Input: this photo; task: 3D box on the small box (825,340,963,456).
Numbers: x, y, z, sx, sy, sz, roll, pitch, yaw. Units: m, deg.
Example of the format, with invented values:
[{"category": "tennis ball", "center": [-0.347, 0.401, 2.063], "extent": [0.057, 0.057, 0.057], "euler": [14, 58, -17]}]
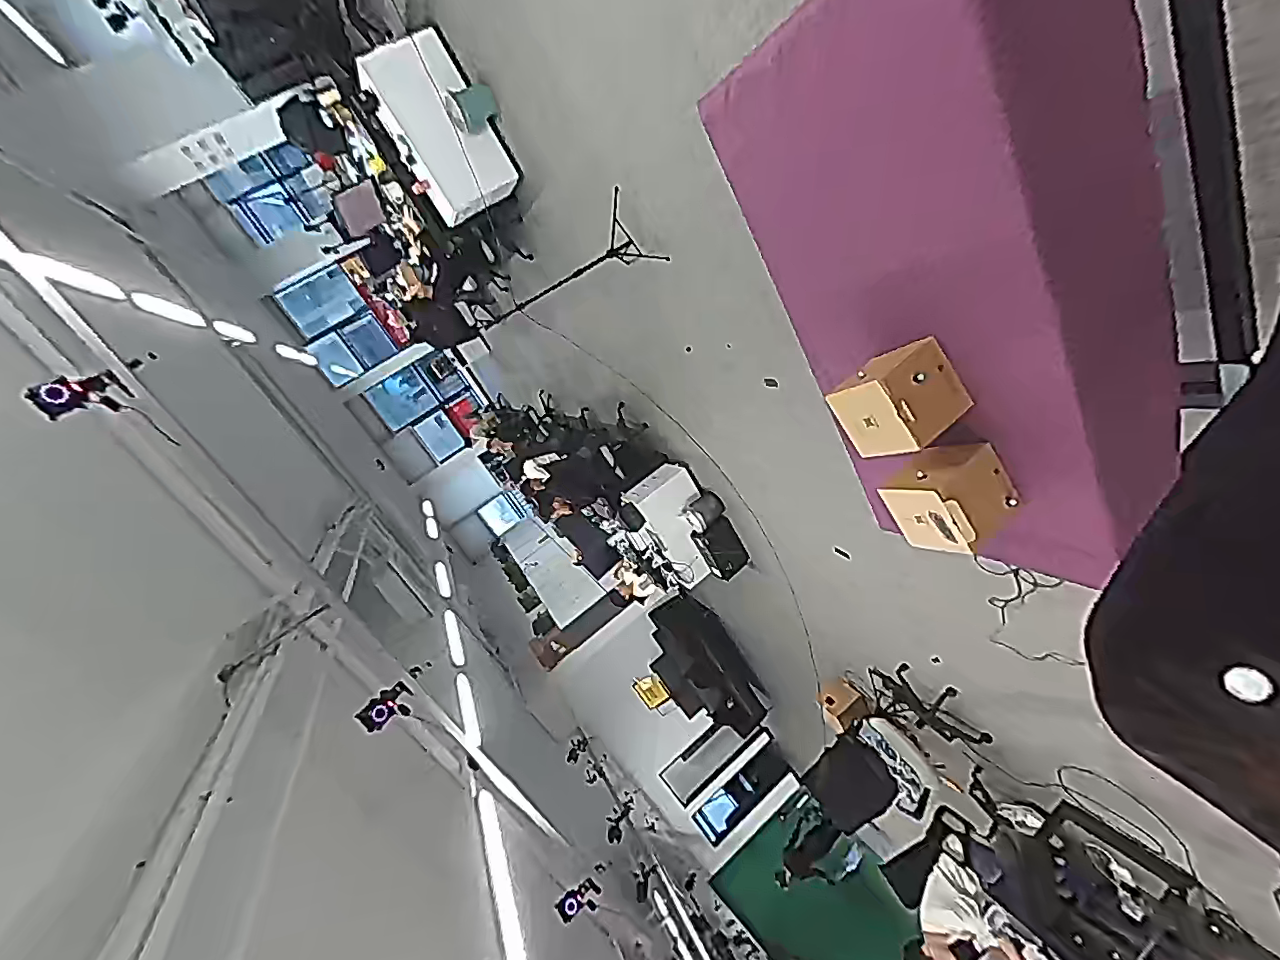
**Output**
[{"category": "small box", "center": [0.536, -0.170, 1.135], "extent": [0.168, 0.176, 0.179], "euler": [56, 166, -7]}]

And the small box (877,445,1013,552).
[{"category": "small box", "center": [0.672, 0.036, 1.184], "extent": [0.168, 0.176, 0.179], "euler": [56, 166, -9]}]
